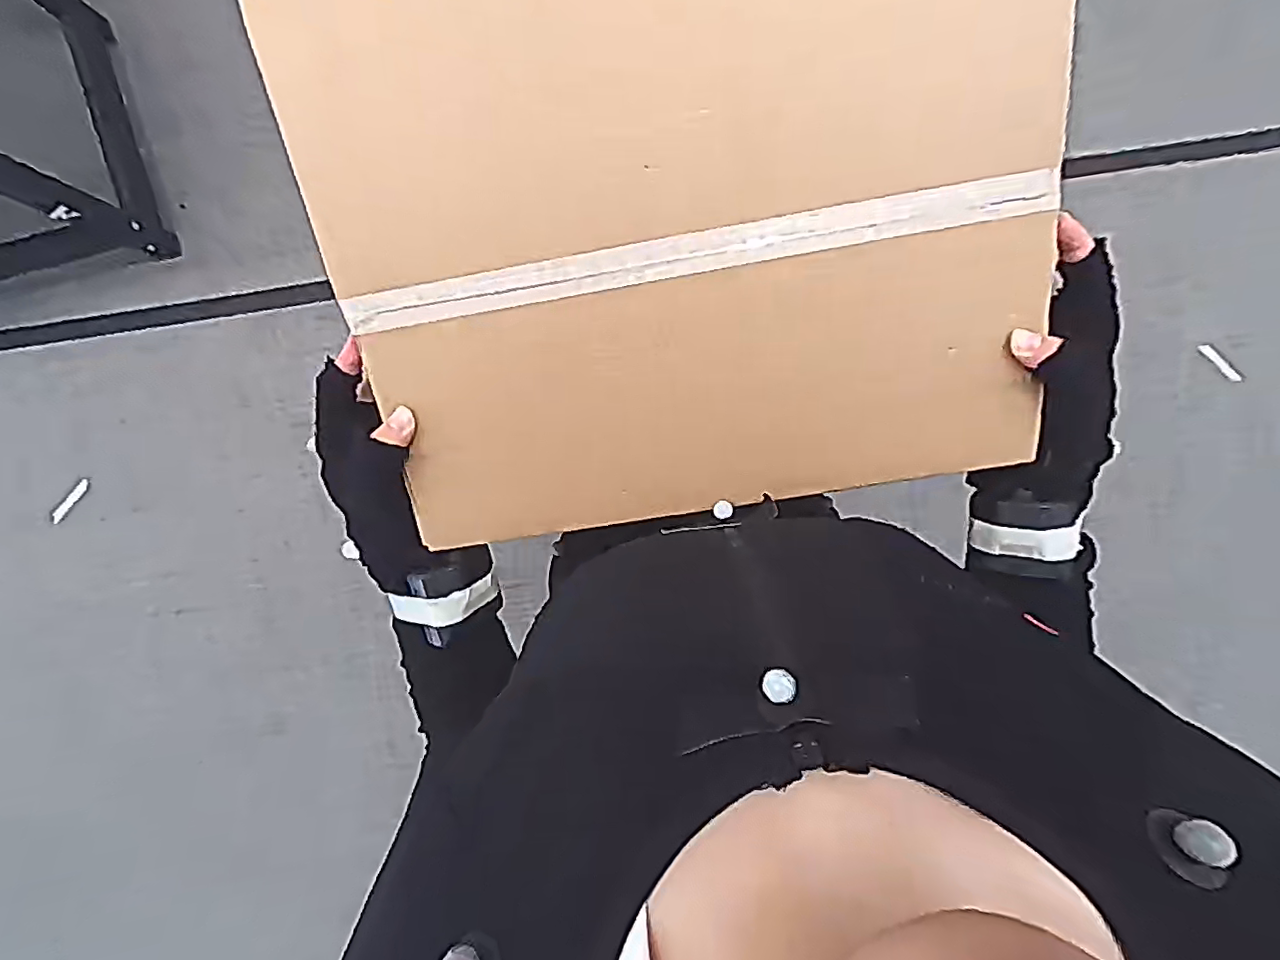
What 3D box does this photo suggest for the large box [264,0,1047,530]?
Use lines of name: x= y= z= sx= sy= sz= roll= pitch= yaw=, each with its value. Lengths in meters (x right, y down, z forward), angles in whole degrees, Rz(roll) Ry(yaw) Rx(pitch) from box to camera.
large box: x=0.023 y=-0.187 z=0.454 sx=0.408 sy=0.320 sz=0.320 roll=-9 pitch=111 yaw=3
